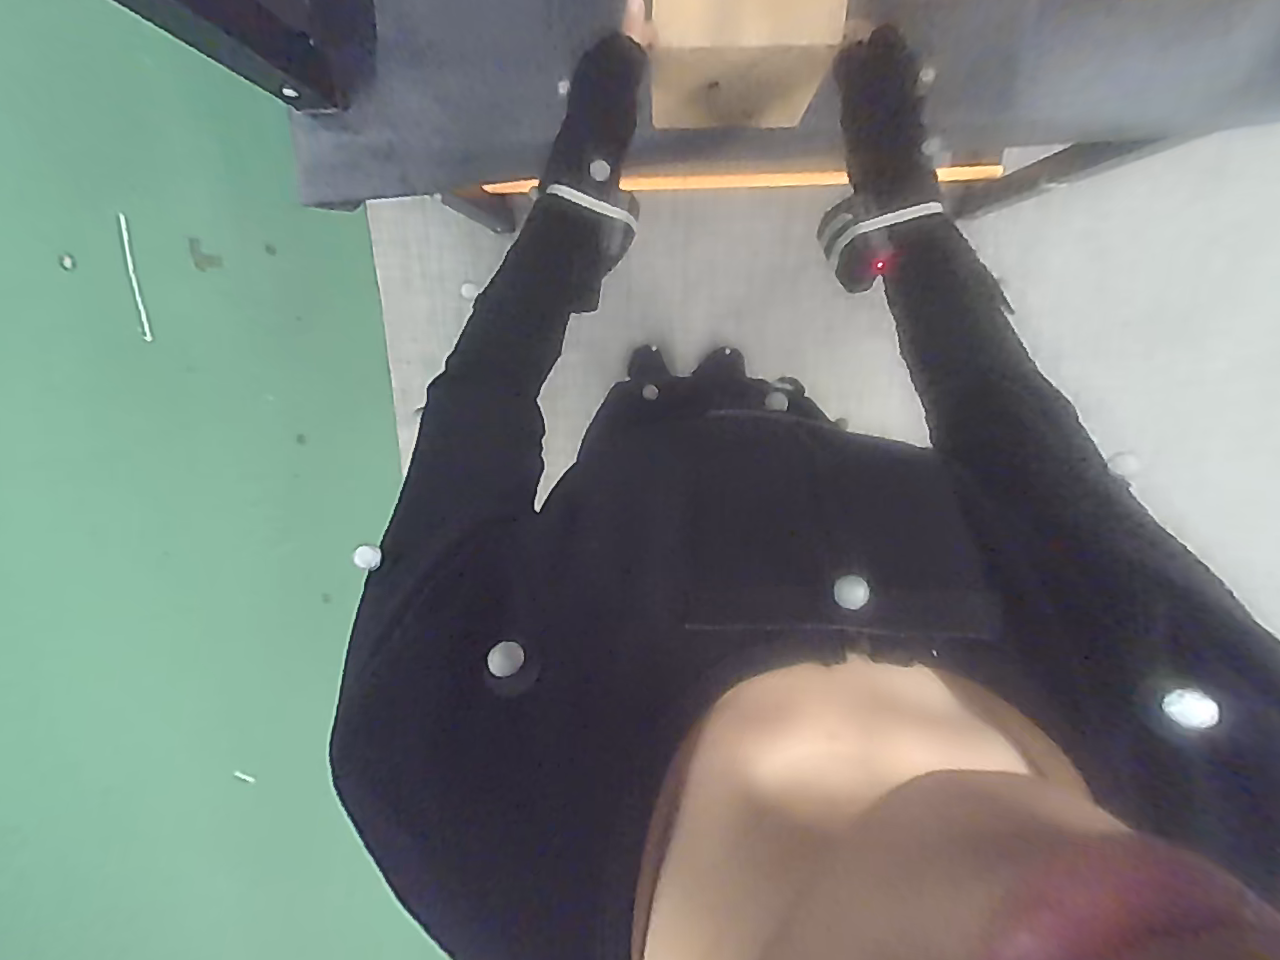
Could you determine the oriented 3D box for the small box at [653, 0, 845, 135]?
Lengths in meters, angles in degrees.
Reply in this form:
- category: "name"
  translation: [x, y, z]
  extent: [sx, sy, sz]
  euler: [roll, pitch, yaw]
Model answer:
- category: "small box"
  translation: [0.099, -0.466, 0.534]
  extent: [0.168, 0.176, 0.179]
  euler: [1, 101, 2]
